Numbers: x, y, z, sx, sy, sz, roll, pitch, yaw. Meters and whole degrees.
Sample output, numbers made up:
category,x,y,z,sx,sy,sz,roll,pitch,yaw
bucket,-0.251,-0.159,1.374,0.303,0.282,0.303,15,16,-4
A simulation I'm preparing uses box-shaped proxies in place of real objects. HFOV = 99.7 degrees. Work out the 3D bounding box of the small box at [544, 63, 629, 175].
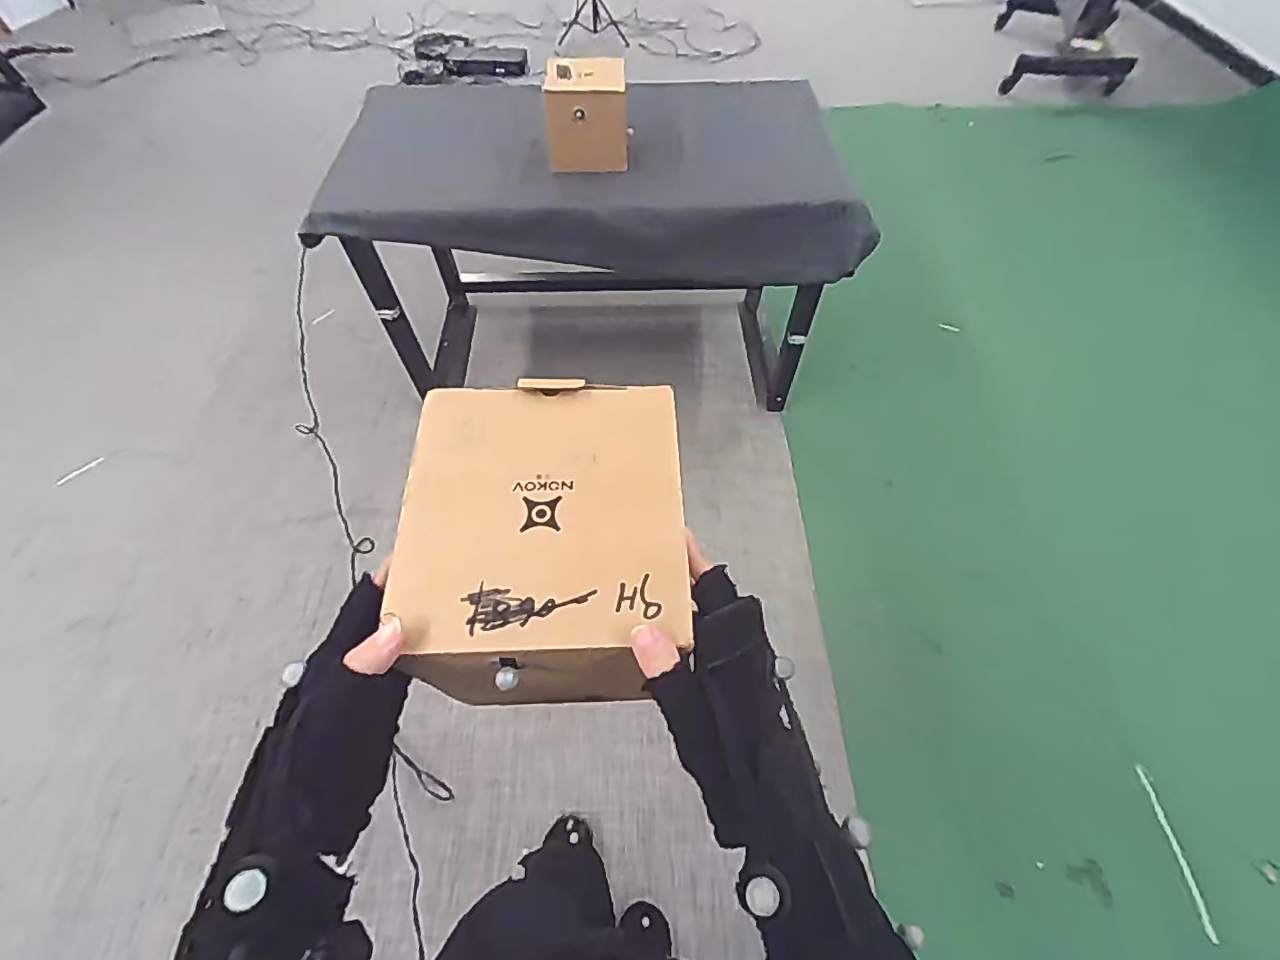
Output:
category,x,y,z,sx,sy,sz,roll,pitch,yaw
small box,-0.116,-0.829,1.247,0.179,0.176,0.168,-1,57,-1

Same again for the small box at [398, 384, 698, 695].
category,x,y,z,sx,sy,sz,roll,pitch,yaw
small box,-0.057,0.050,0.403,0.168,0.176,0.179,-3,60,-4
